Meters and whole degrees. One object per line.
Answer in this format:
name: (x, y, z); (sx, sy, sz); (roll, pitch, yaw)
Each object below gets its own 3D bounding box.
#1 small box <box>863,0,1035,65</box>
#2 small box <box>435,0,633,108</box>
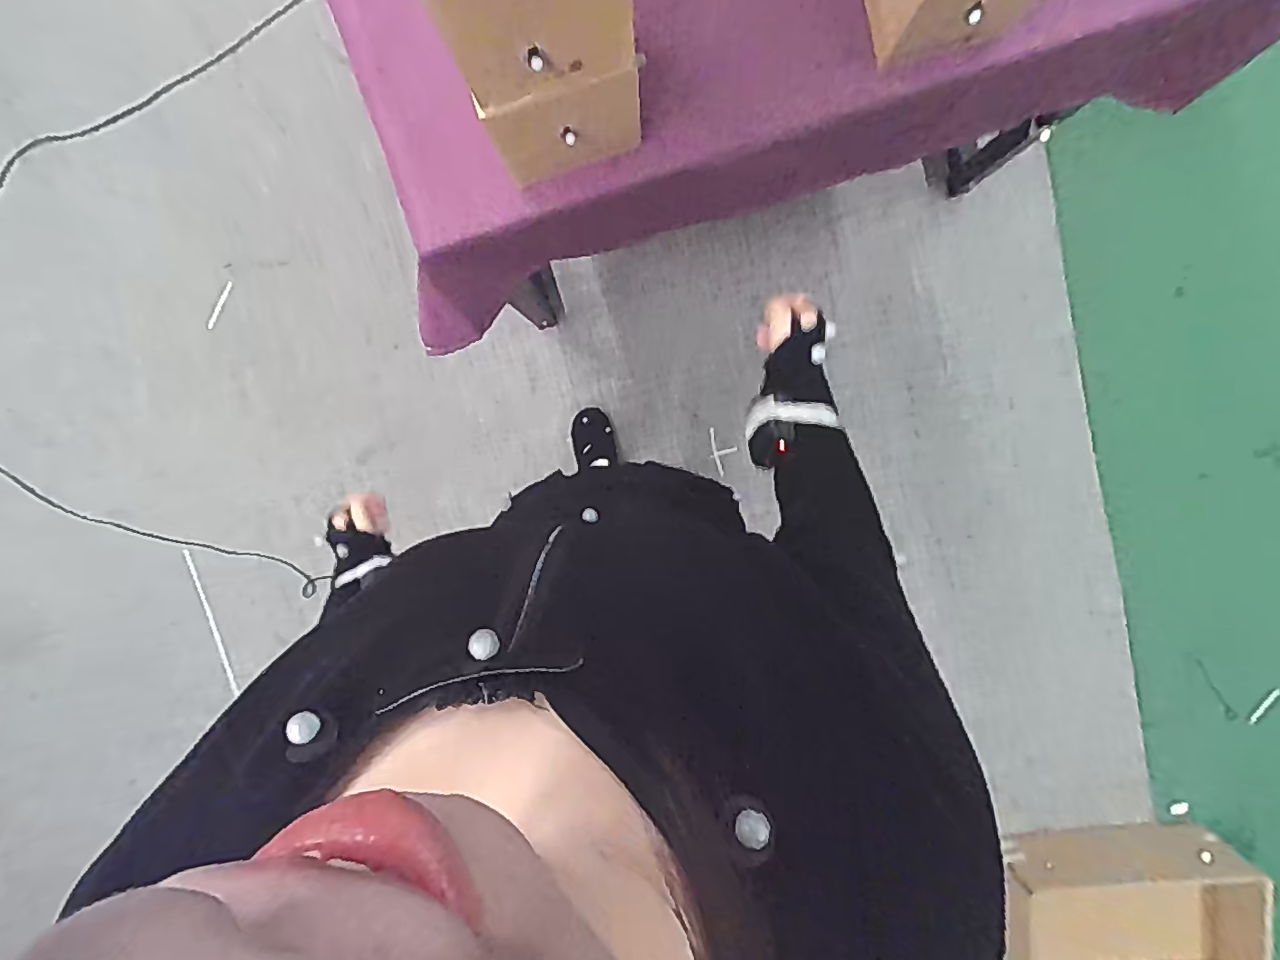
small box: (0.367, -0.619, 0.616); (0.168, 0.176, 0.179); (-13, 95, 1)
small box: (-0.107, -0.478, 0.471); (0.168, 0.176, 0.179); (-17, 96, 2)
